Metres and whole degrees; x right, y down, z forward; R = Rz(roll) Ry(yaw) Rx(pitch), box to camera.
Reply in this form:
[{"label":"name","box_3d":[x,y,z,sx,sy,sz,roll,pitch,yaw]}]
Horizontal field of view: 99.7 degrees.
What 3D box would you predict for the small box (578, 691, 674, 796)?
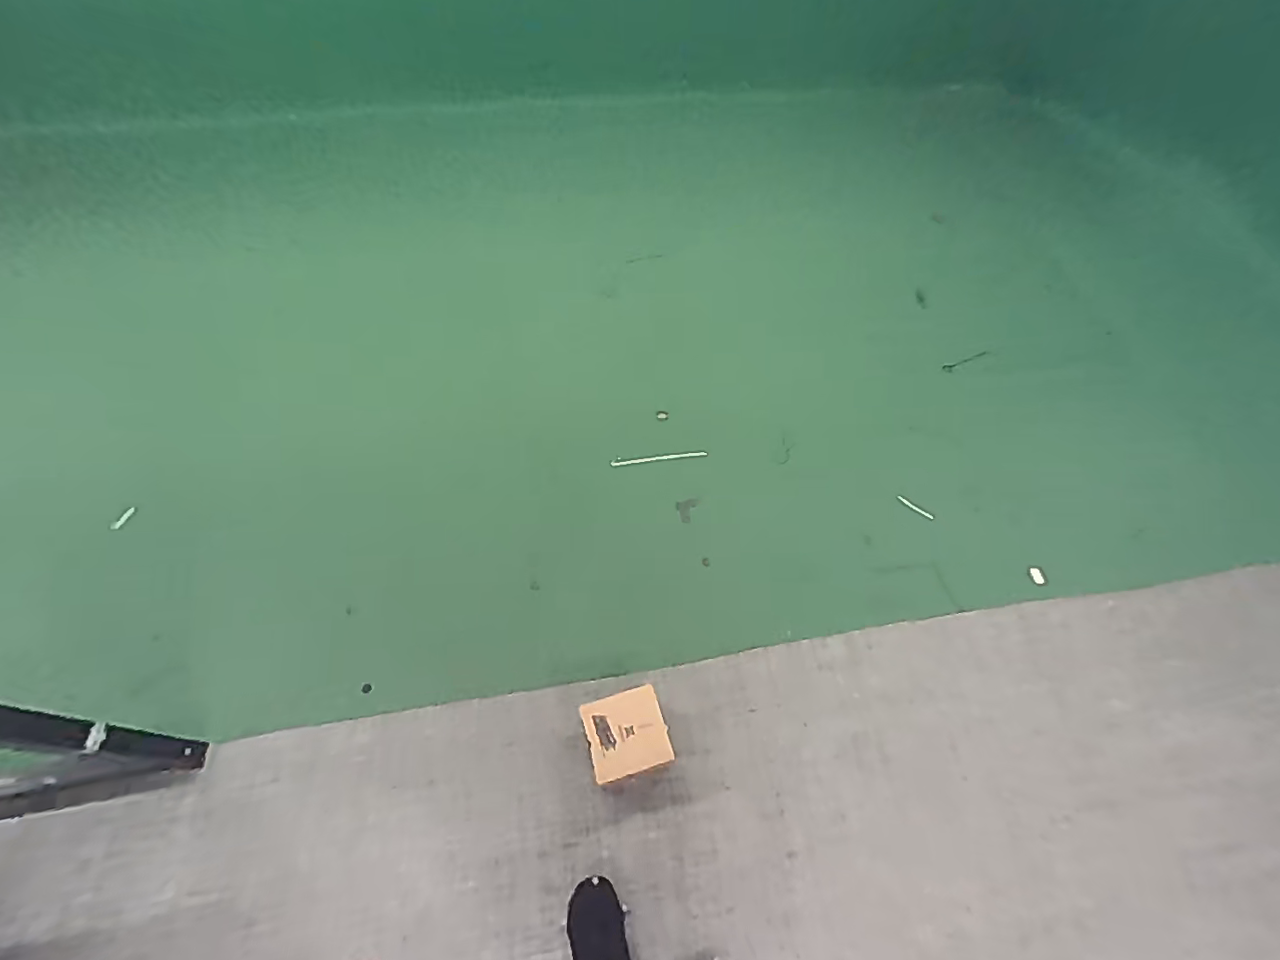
[{"label":"small box","box_3d":[-0.033,0.606,1.234,0.179,0.176,0.168,-13,59,-11]}]
